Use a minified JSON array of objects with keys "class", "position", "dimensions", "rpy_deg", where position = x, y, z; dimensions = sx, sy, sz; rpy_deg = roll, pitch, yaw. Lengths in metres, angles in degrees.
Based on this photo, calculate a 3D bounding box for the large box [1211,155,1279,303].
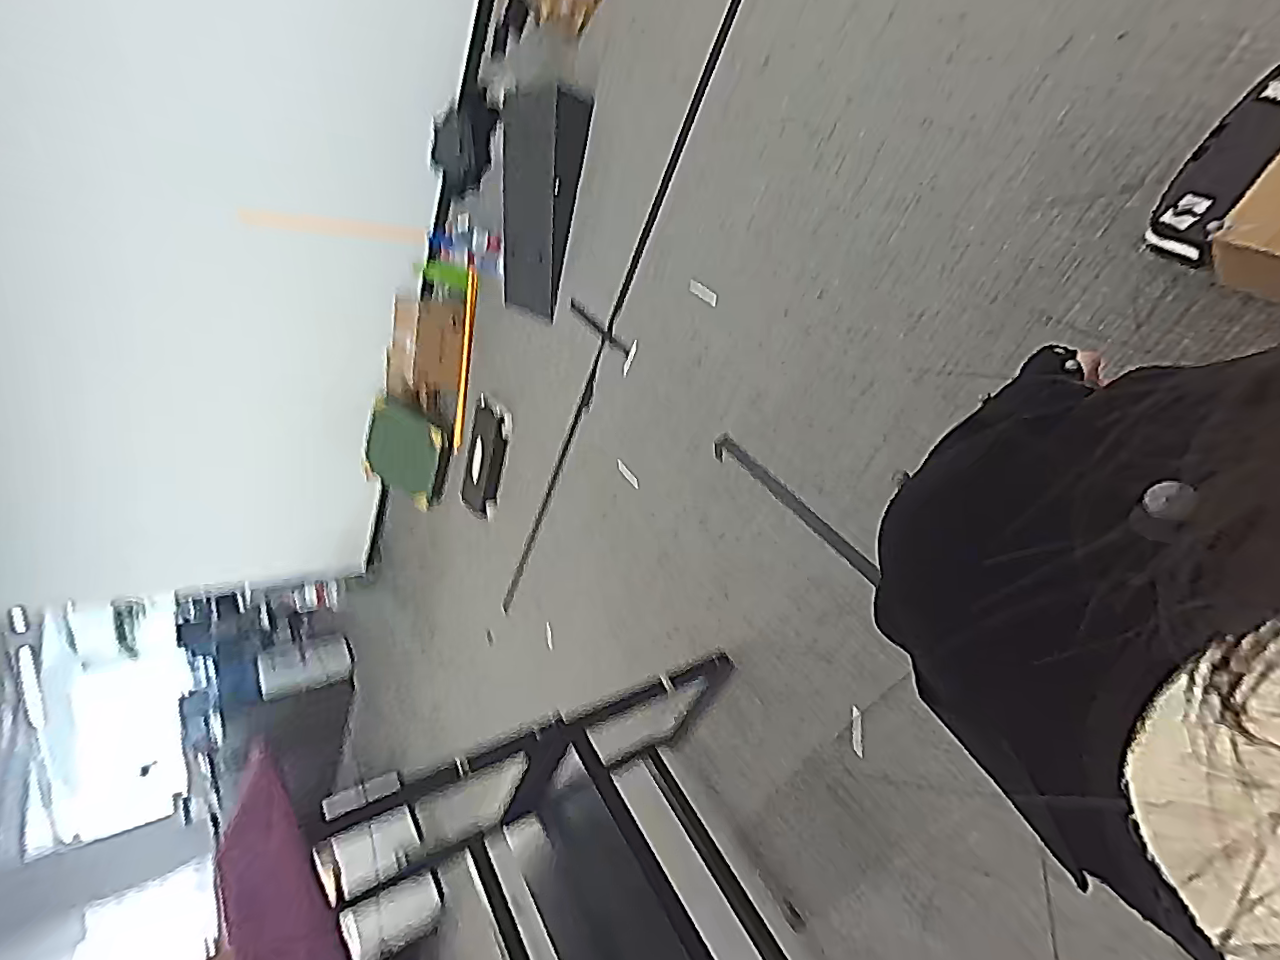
[{"class":"large box","position":[1.035,-0.335,0.630],"dimensions":[0.408,0.320,0.320],"rpy_deg":[46,123,37]}]
